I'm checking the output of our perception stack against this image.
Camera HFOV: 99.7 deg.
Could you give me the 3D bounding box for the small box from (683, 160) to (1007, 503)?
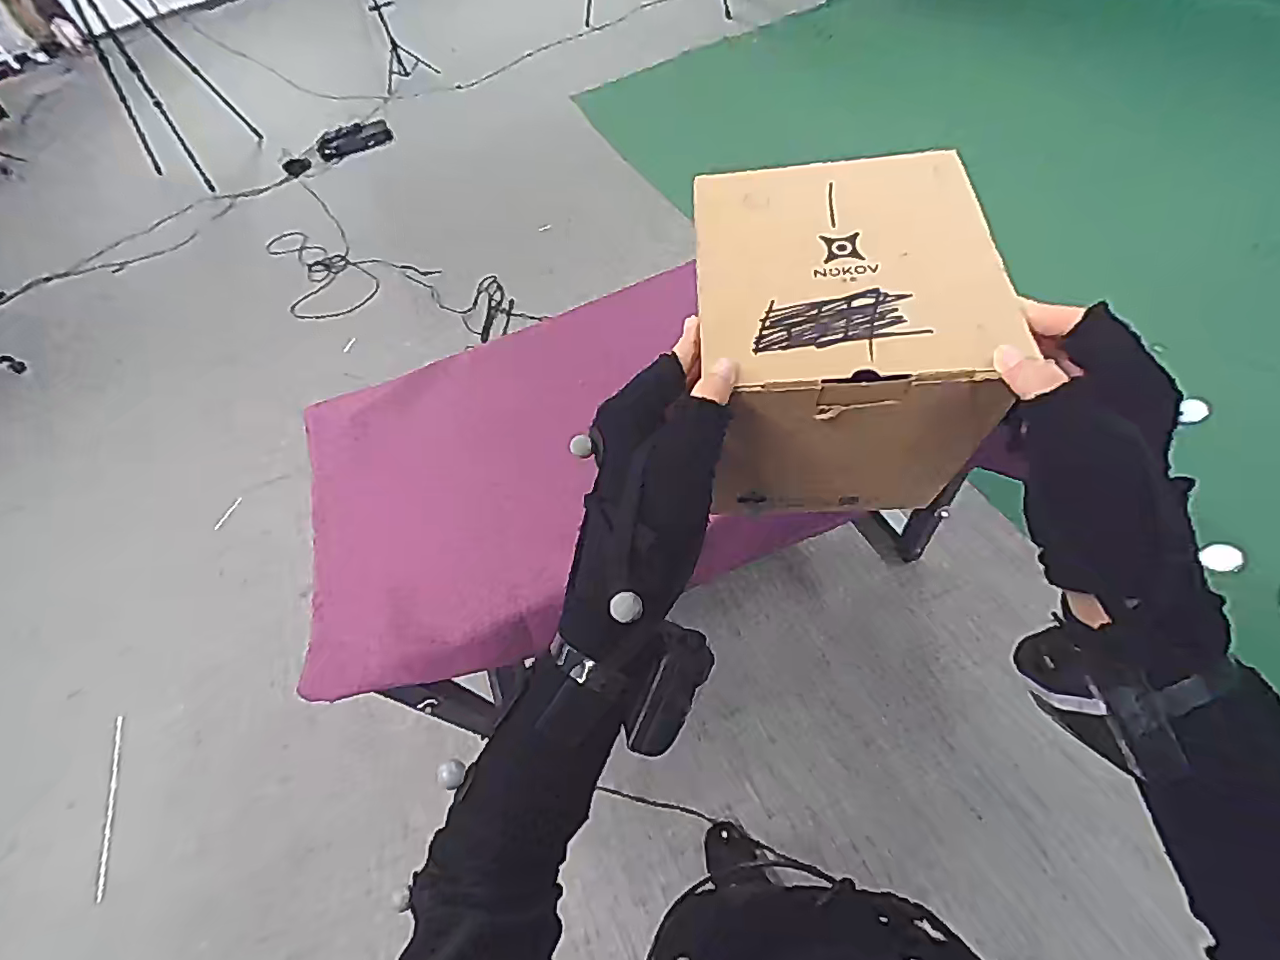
[{"bbox_3d":[0.119,-0.090,0.391,0.168,0.176,0.179,-2,62,7],"label":"small box"}]
